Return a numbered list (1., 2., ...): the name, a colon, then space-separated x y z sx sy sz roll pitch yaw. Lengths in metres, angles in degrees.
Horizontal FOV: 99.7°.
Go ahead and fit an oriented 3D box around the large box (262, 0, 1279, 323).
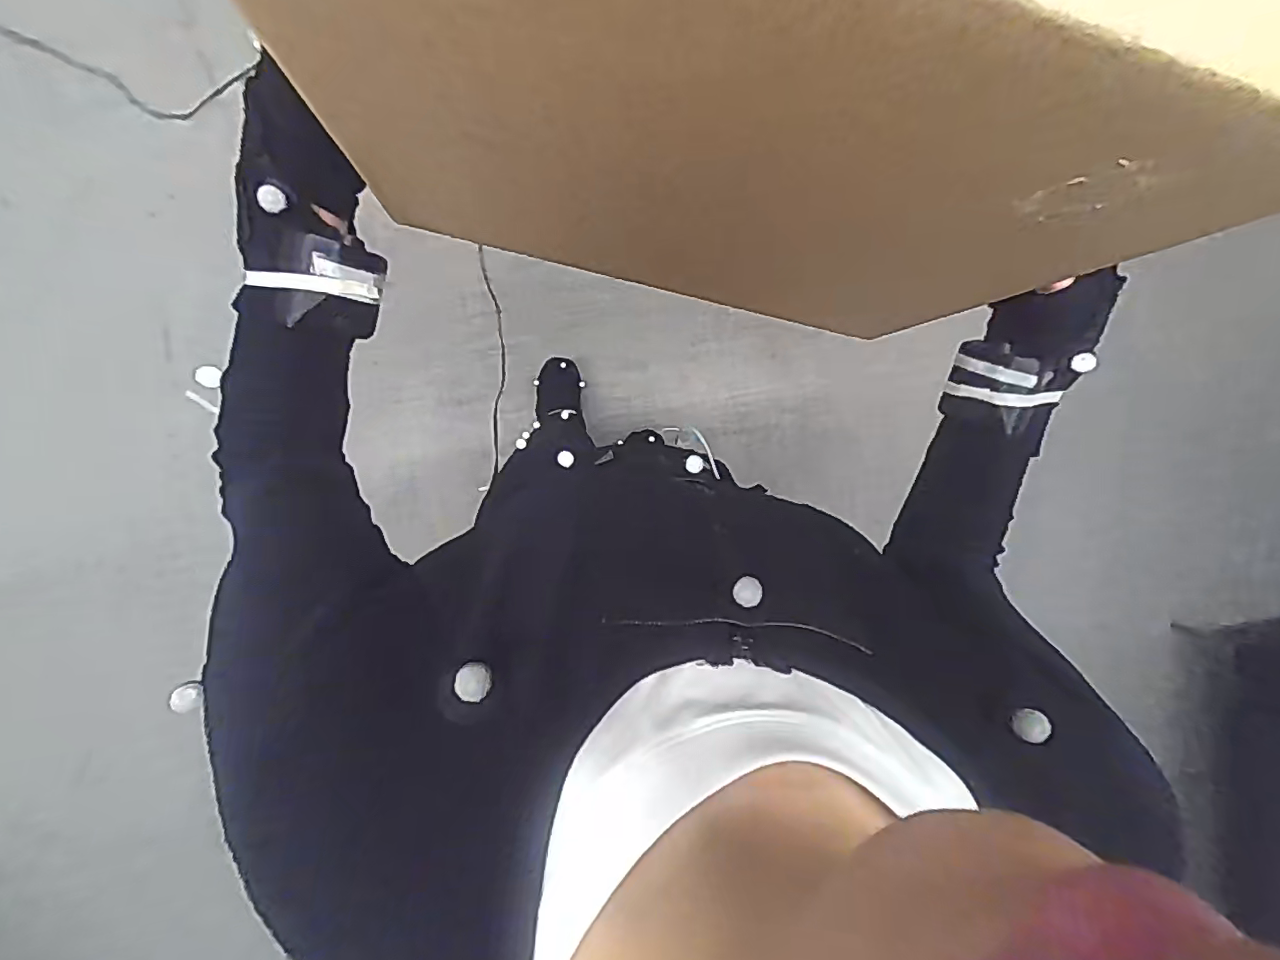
1. large box: 0.059 -0.304 0.285 0.408 0.320 0.320 10 93 -11
